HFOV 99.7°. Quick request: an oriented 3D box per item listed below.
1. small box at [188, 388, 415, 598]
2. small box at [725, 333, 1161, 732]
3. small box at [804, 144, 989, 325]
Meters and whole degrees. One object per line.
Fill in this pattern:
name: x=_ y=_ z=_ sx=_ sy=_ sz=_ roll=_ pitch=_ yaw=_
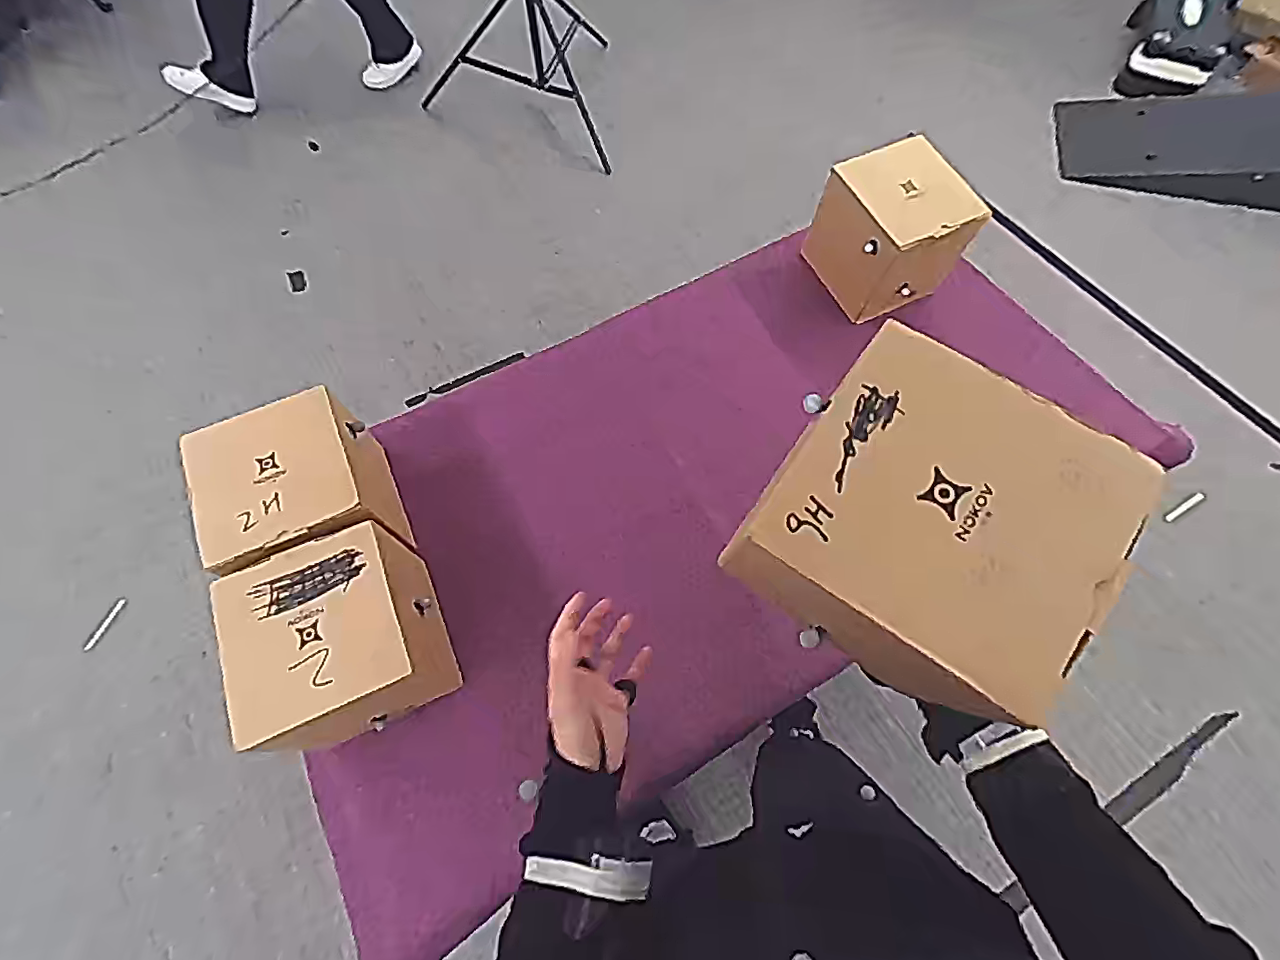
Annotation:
small box: x=-0.408 y=0.023 z=0.674 sx=0.168 sy=0.176 sz=0.179 roll=-24 pitch=68 yaw=-10
small box: x=0.181 y=0.038 z=0.382 sx=0.179 sy=0.176 sz=0.168 roll=34 pitch=79 yaw=10
small box: x=0.391 y=-0.384 z=0.862 sx=0.168 sy=0.176 sz=0.179 roll=-24 pitch=72 yaw=-10
